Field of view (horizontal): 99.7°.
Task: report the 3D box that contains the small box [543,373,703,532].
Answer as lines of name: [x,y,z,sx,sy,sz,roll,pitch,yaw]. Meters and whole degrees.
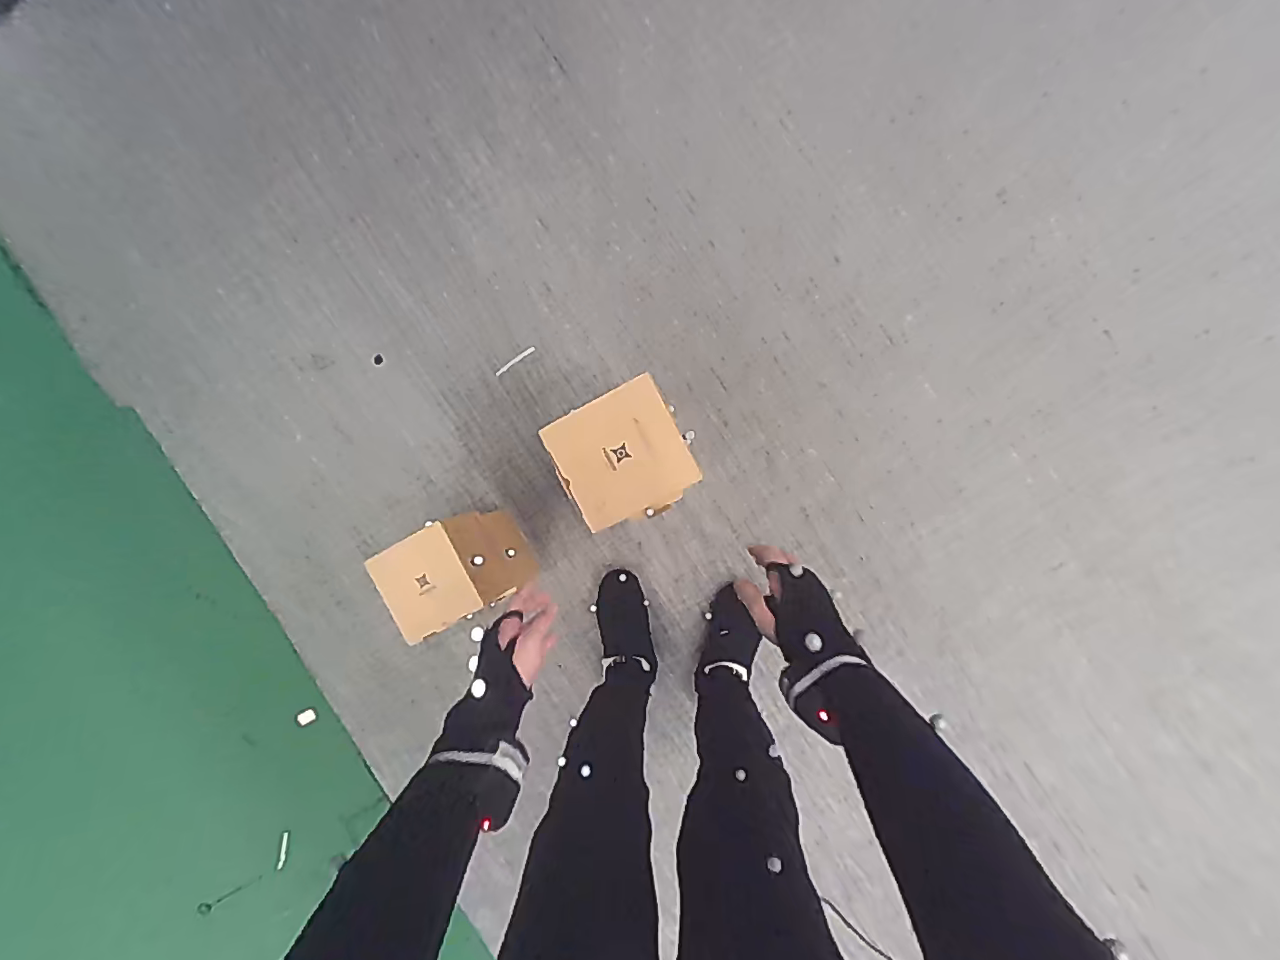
small box: [-0.015,-0.041,0.818,0.179,0.176,0.168,-27,91,8]

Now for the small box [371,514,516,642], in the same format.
small box: [-0.367,0.176,1.039,0.168,0.176,0.179,-28,91,7]

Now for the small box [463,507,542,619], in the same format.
small box: [-0.345,0.178,1.216,0.168,0.176,0.179,-29,90,7]
